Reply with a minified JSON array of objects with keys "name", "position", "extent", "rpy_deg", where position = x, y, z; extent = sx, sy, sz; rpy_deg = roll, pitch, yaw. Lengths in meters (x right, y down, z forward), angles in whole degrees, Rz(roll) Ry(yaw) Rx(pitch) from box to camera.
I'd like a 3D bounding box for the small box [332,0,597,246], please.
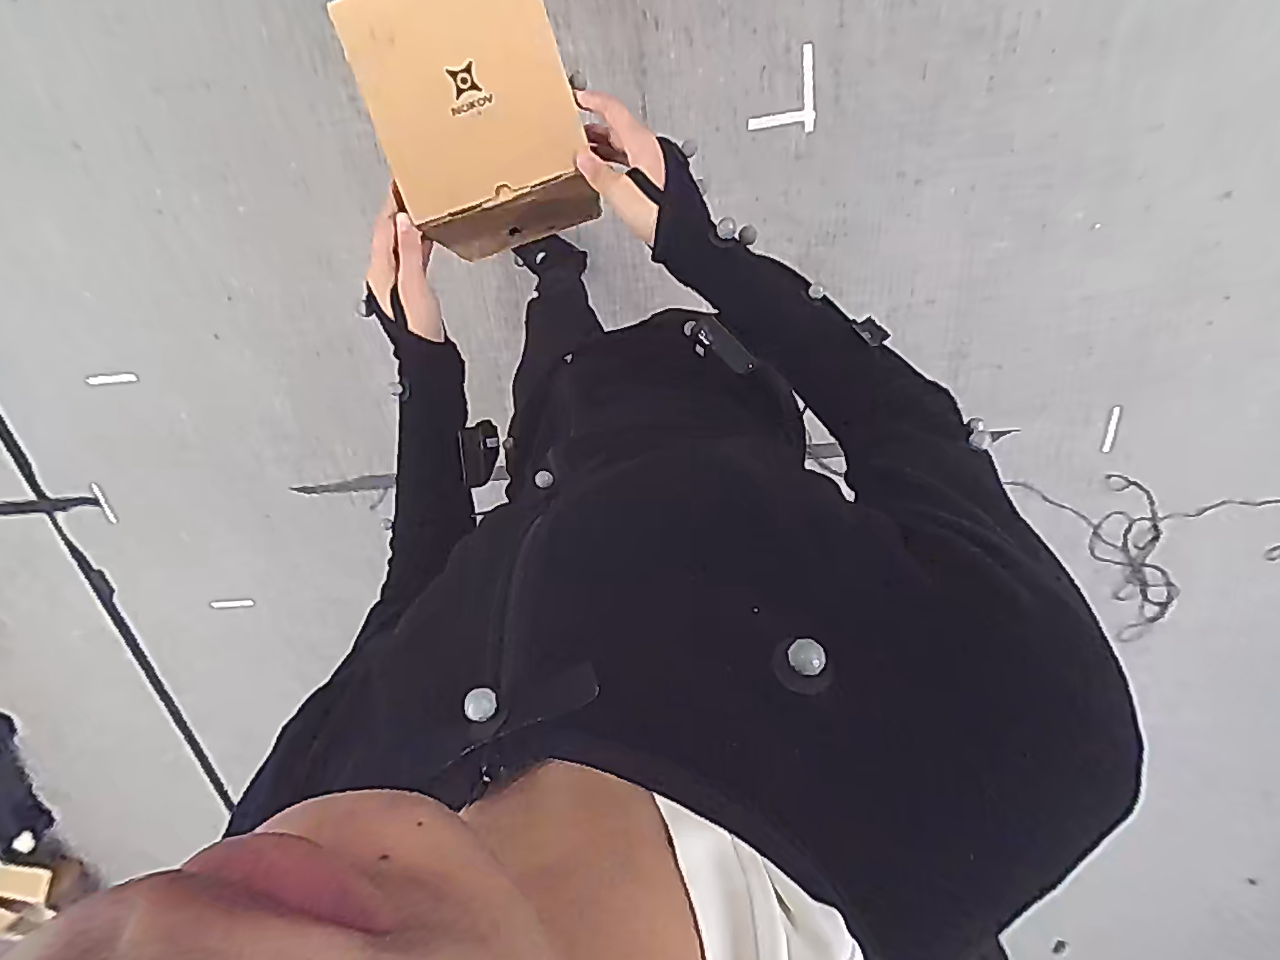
[{"name":"small box","position":[-0.145,-0.346,0.510],"extent":[0.168,0.176,0.179],"rpy_deg":[-18,104,1]}]
